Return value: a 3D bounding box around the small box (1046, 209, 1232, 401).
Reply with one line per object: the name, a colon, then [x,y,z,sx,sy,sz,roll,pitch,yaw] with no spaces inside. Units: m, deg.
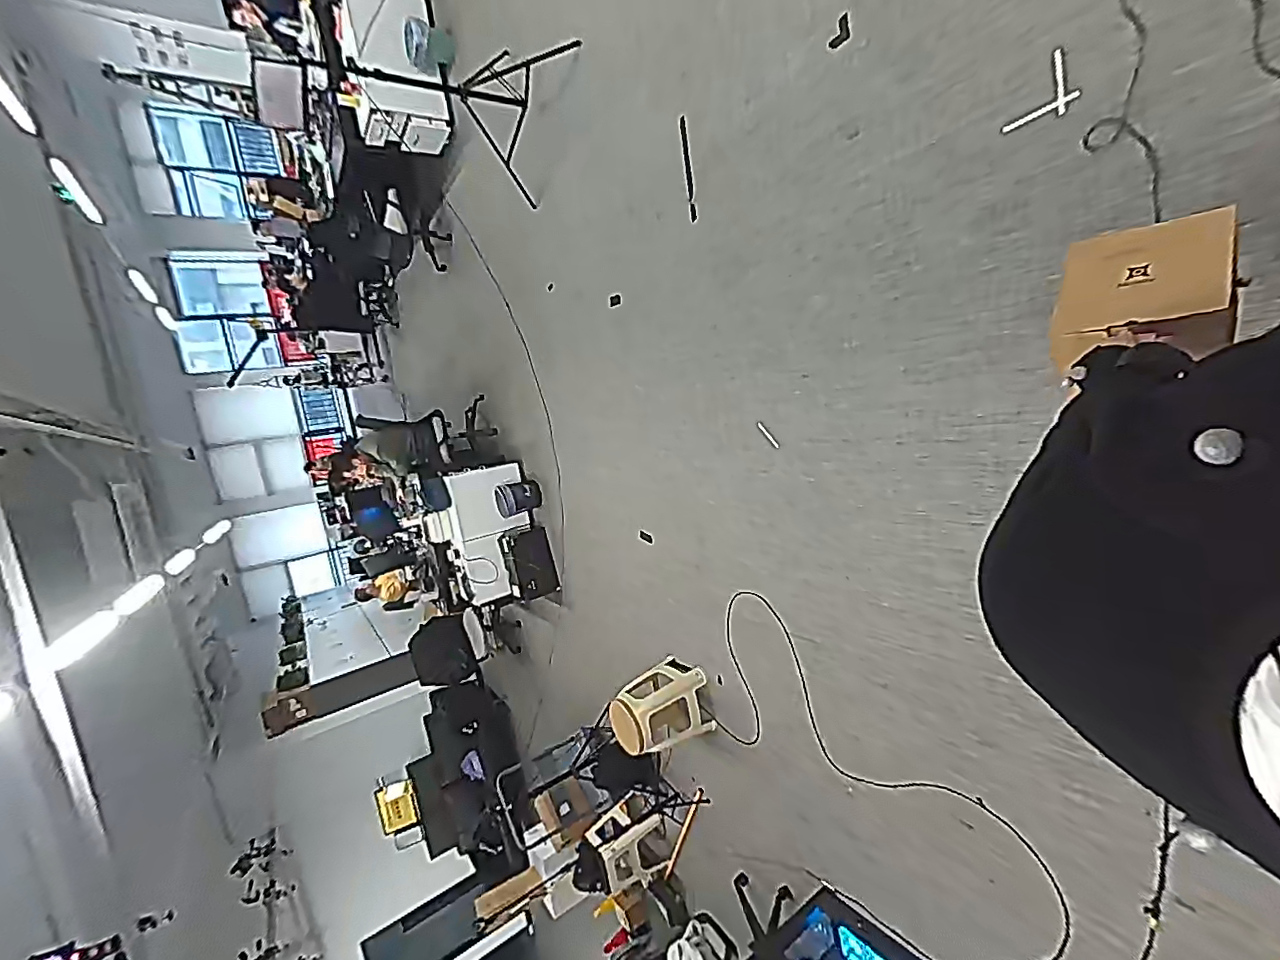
small box: [0.688,-0.221,0.743,0.168,0.179,0.176,2,149,48]
